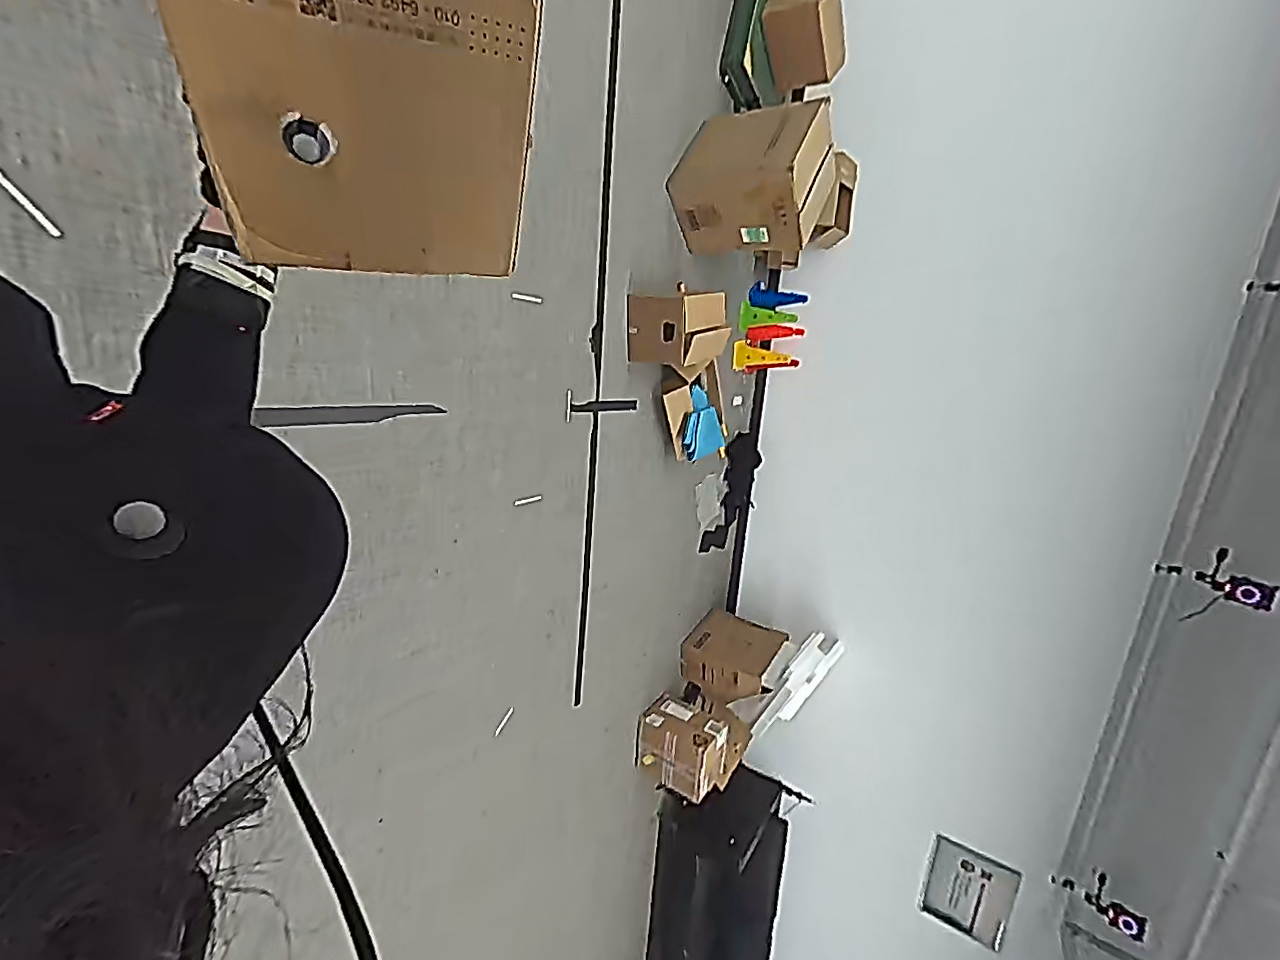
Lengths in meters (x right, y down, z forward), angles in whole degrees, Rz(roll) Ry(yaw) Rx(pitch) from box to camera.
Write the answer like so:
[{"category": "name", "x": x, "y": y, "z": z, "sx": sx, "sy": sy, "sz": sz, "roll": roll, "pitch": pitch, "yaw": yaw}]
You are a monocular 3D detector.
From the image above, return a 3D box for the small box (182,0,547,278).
[{"category": "small box", "x": -0.165, "y": -0.253, "z": 0.336, "sx": 0.168, "sy": 0.179, "sz": 0.176, "roll": -6, "pitch": 144, "yaw": -27}]
